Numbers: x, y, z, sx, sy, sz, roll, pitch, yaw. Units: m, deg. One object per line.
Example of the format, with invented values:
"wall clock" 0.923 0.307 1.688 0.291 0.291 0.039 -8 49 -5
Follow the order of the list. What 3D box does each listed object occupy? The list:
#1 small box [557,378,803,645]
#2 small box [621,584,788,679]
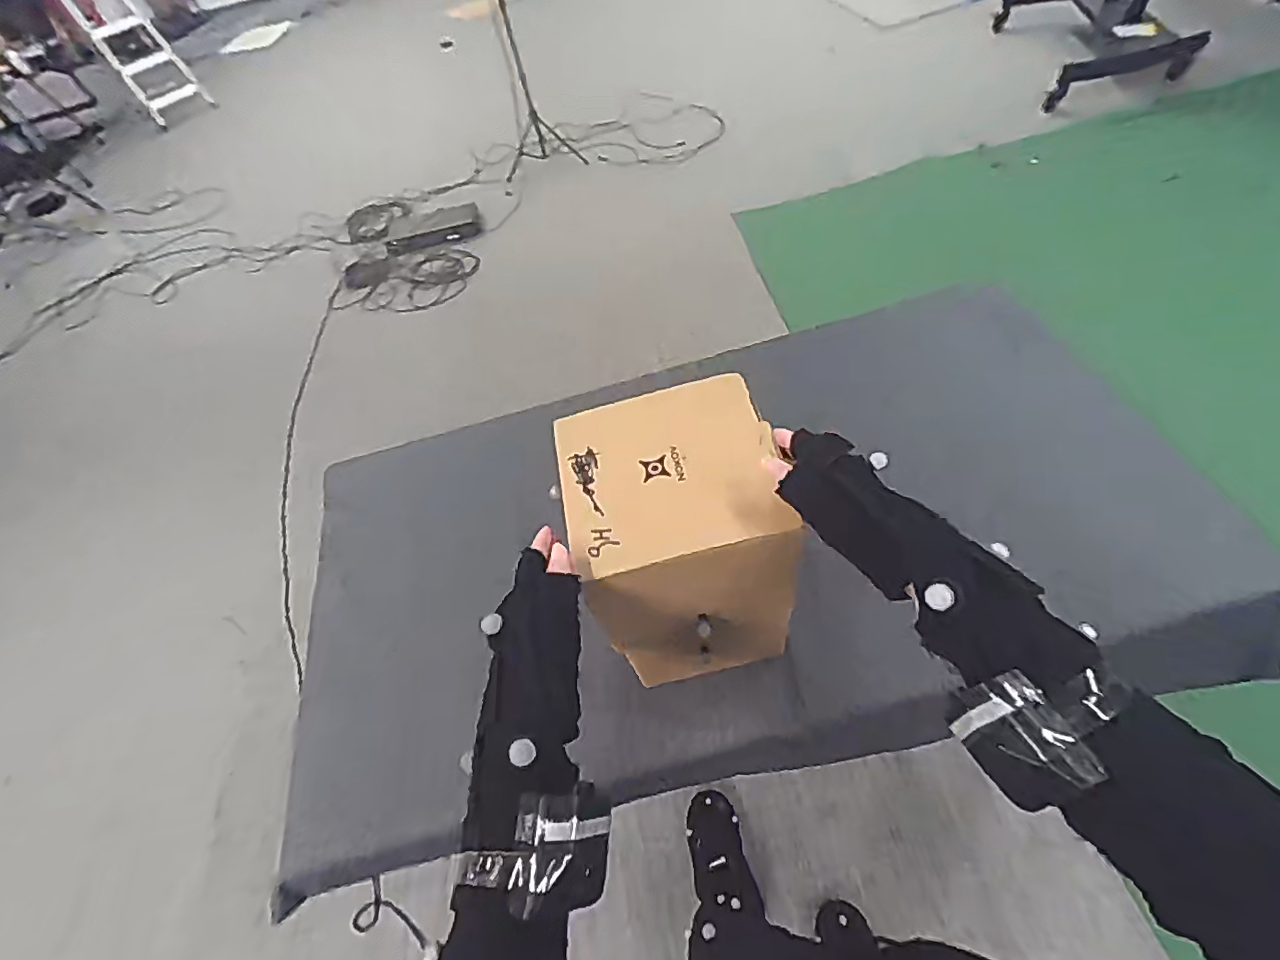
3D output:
"small box" 0.032 0.035 0.504 0.179 0.176 0.168 -12 53 0
"small box" 0.060 0.119 0.643 0.179 0.176 0.168 -14 54 1
